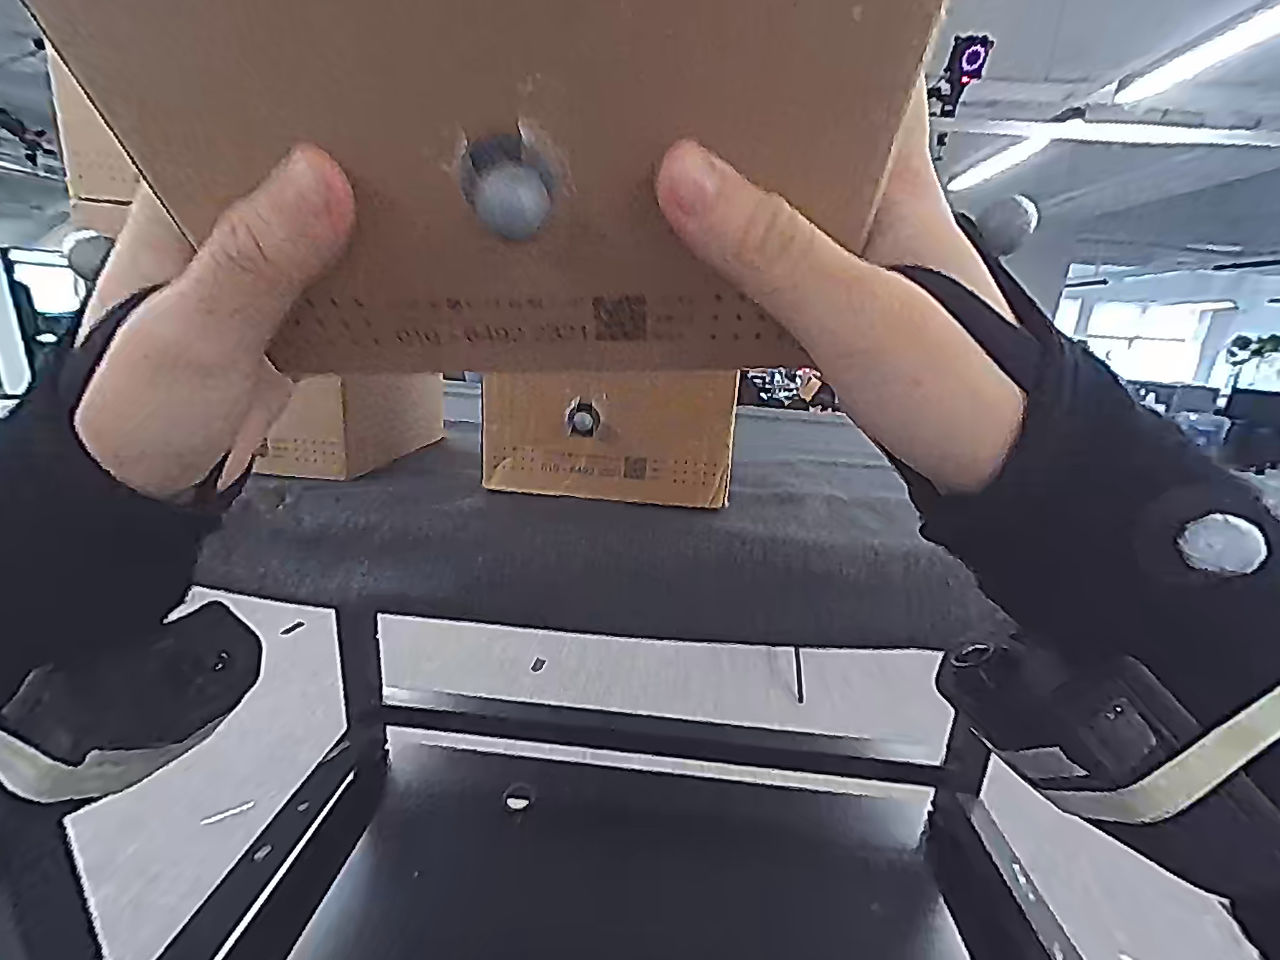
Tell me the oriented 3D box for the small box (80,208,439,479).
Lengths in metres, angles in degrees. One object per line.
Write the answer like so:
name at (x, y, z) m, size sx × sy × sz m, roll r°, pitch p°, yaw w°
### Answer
small box at (-0.269, -0.102, 0.433) m, size 0.168 × 0.176 × 0.179 m, roll 5°, pitch 13°, yaw 0°

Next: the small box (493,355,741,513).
small box at (-0.014, -0.083, 0.427) m, size 0.168 × 0.176 × 0.179 m, roll 4°, pitch 14°, yaw 3°

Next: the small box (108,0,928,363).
small box at (-0.027, -0.154, 0.152) m, size 0.168 × 0.176 × 0.179 m, roll -1°, pitch 52°, yaw 0°
